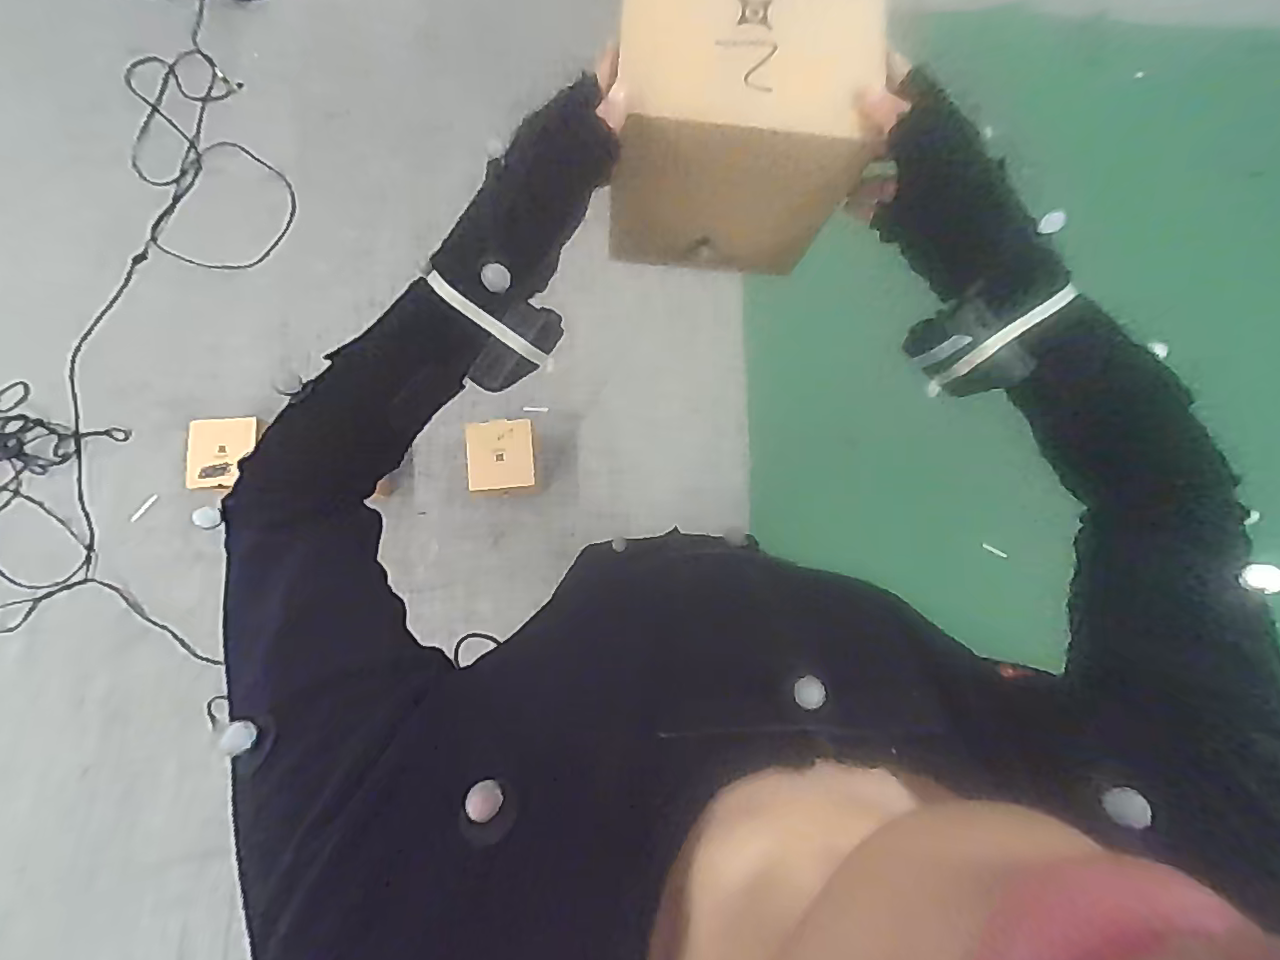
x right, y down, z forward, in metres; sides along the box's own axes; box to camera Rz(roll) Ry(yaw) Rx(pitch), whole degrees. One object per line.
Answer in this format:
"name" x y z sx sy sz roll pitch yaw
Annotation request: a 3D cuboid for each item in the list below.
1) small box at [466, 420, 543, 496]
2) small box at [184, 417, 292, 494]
"small box" -0.354 -0.052 1.429 0.168 0.176 0.179 -5 83 -4
"small box" -1.035 -0.057 1.407 0.168 0.176 0.179 -3 82 -2
